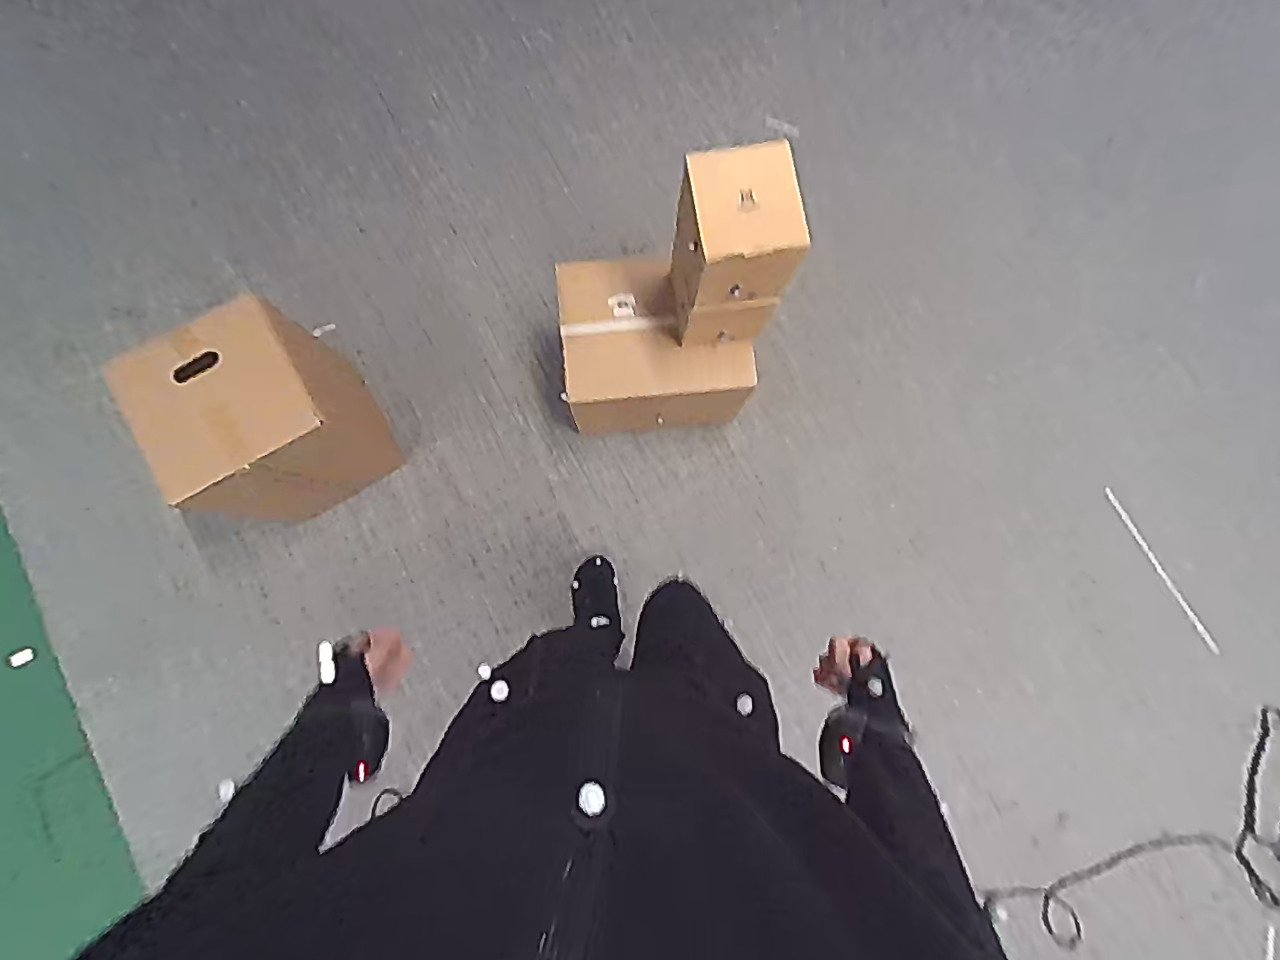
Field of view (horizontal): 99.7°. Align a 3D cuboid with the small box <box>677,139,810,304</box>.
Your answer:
[{"bbox_3d":[0.161,-0.420,0.899,0.168,0.176,0.179,-9,83,-3],"label":"small box"}]
